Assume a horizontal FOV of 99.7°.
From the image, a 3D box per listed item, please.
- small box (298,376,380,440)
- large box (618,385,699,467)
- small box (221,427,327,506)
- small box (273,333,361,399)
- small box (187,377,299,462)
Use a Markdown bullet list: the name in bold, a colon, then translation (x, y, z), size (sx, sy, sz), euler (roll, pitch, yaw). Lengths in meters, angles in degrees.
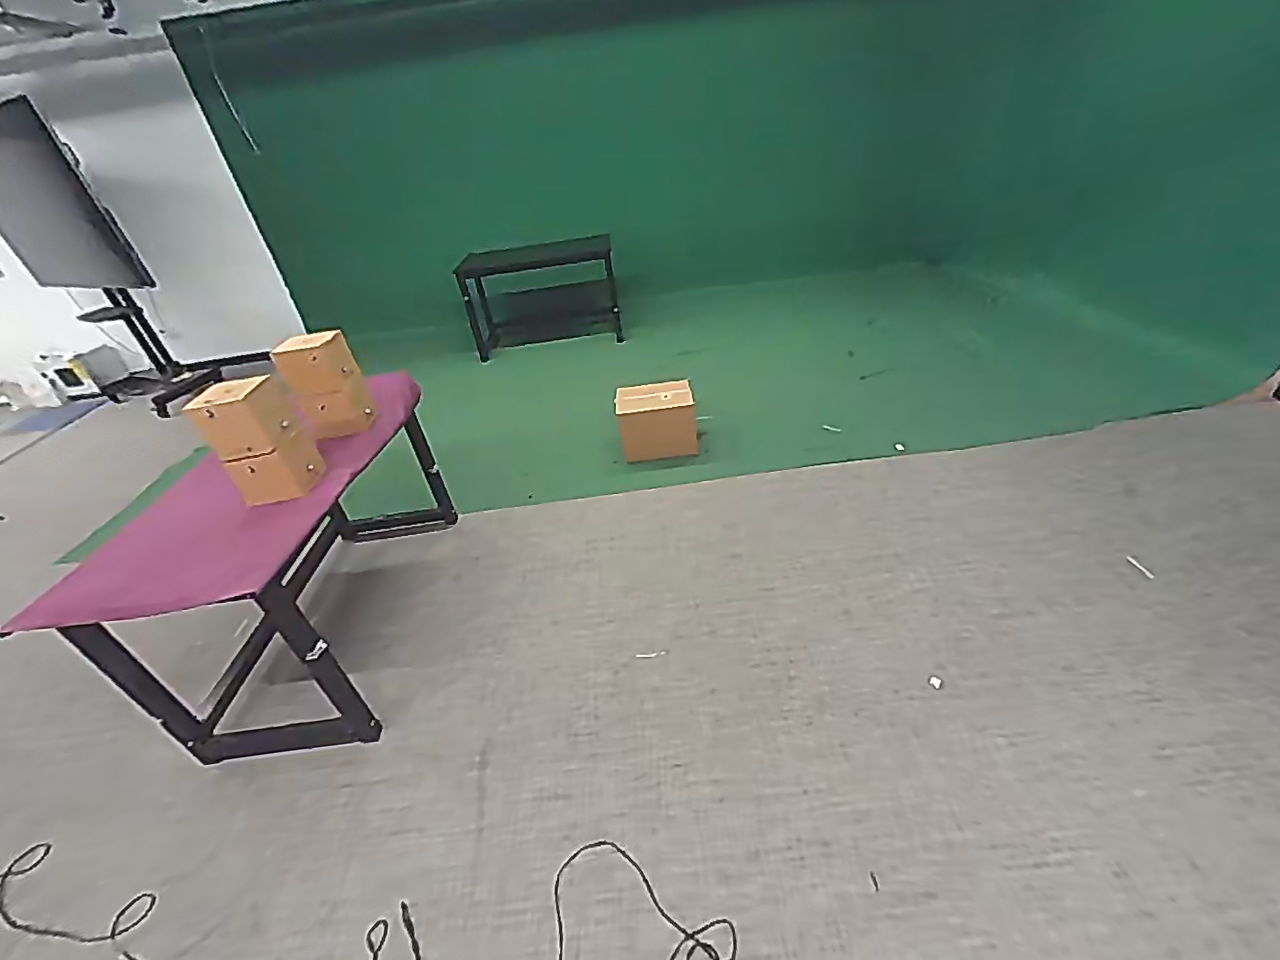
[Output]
- **small box**: translation (-1.084, -0.258, 1.963), size (0.179, 0.176, 0.168), euler (-7, 34, 2)
- **large box**: translation (0.099, -0.296, 2.944), size (0.408, 0.320, 0.320), euler (-6, 34, 3)
- **small box**: translation (-1.095, -0.039, 1.635), size (0.179, 0.176, 0.168), euler (-9, 34, 1)
- **small box**: translation (-1.110, -0.392, 1.875), size (0.179, 0.176, 0.168), euler (-8, 34, 2)
- **small box**: translation (-1.117, -0.173, 1.543), size (0.168, 0.176, 0.179), euler (-10, 33, 1)
